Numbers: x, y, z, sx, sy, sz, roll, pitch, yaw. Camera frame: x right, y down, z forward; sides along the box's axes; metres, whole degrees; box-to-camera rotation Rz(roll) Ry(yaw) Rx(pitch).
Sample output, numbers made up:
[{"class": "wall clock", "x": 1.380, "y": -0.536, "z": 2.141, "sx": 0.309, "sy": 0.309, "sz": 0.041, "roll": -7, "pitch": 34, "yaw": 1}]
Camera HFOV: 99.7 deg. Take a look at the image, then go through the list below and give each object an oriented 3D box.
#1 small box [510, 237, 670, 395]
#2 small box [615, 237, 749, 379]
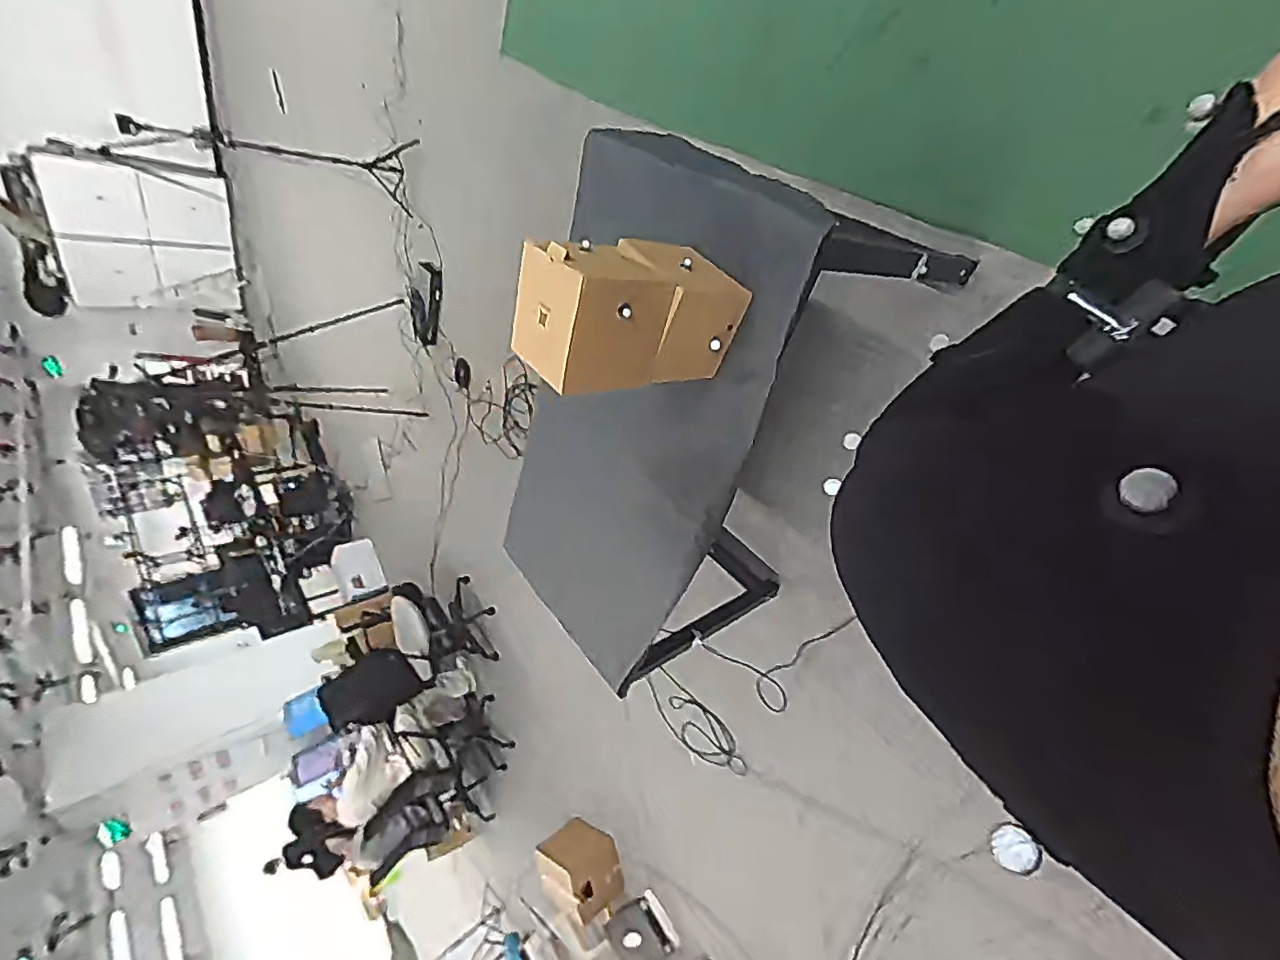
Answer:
[{"class": "small box", "x": -0.077, "y": -0.250, "z": 0.826, "sx": 0.168, "sy": 0.176, "sz": 0.179, "roll": 44, "pitch": 132, "yaw": 36}, {"class": "small box", "x": 0.049, "y": -0.288, "z": 0.922, "sx": 0.179, "sy": 0.176, "sz": 0.168, "roll": 49, "pitch": 134, "yaw": 29}]
